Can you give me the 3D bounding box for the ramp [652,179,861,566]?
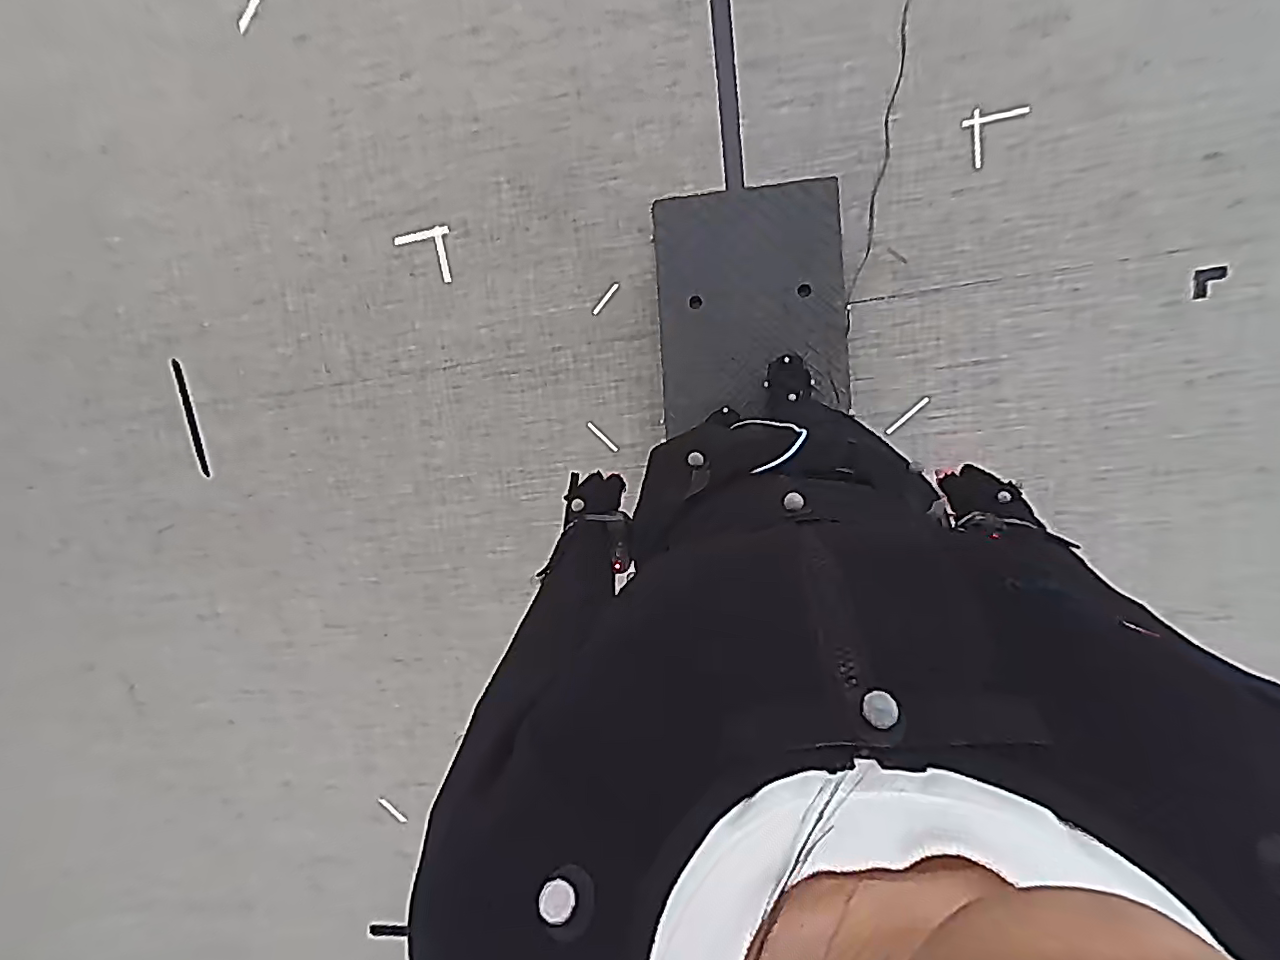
[{"bbox_3d":[0.299,-0.276,1.443,0.509,0.206,0.991,-5,99,10],"label":"ramp"}]
